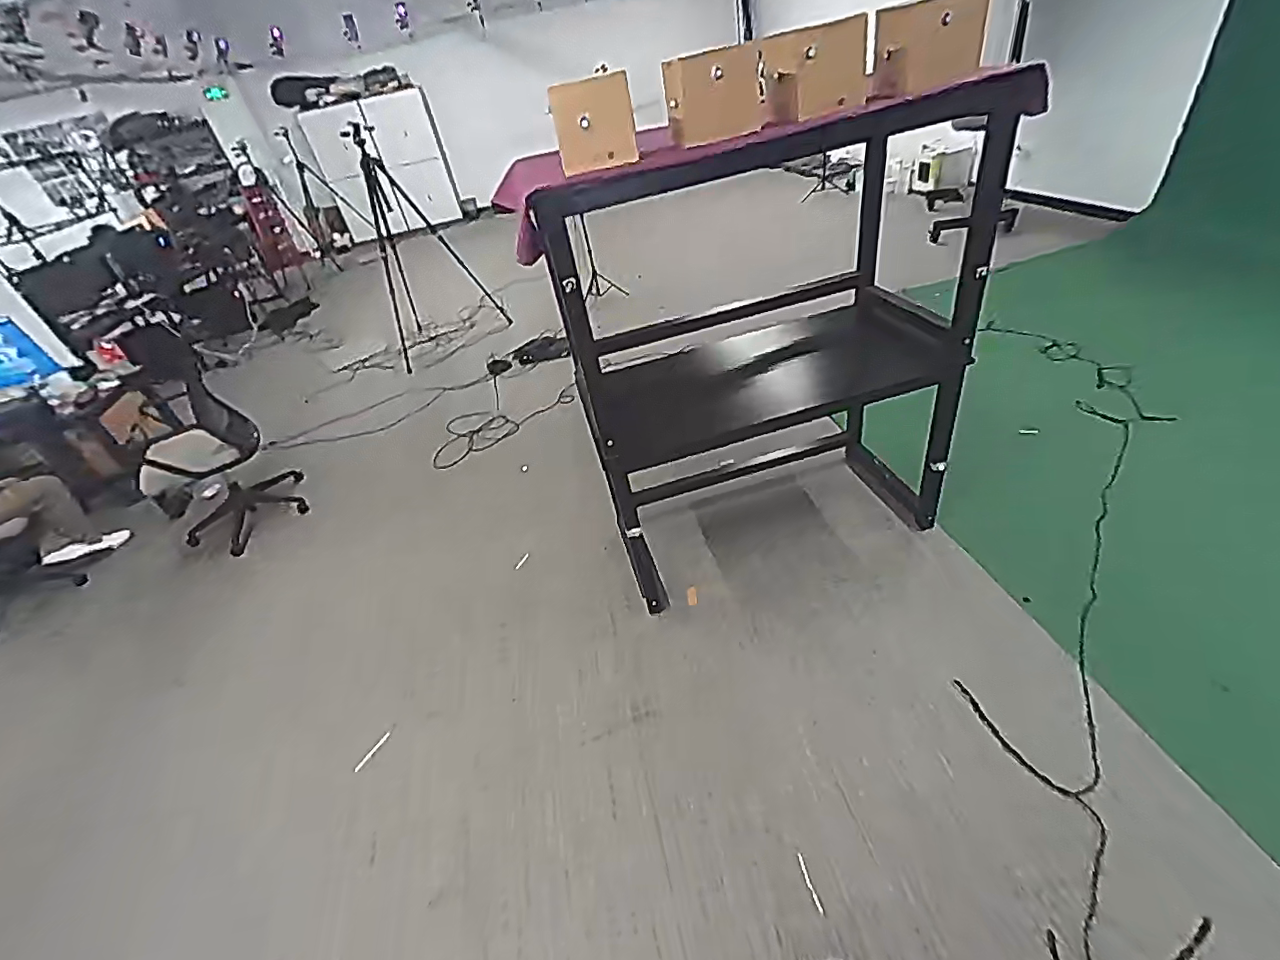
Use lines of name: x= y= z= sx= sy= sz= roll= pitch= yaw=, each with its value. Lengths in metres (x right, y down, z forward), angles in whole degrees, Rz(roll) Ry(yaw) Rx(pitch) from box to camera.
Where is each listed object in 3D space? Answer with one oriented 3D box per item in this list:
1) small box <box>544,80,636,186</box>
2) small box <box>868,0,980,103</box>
small box: x=-0.112 y=-0.775 z=1.214 sx=0.168 sy=0.176 sz=0.179 roll=-14 pitch=35 yaw=-1
small box: x=0.654 y=-1.000 z=1.263 sx=0.179 sy=0.176 sz=0.168 roll=-15 pitch=38 yaw=0
